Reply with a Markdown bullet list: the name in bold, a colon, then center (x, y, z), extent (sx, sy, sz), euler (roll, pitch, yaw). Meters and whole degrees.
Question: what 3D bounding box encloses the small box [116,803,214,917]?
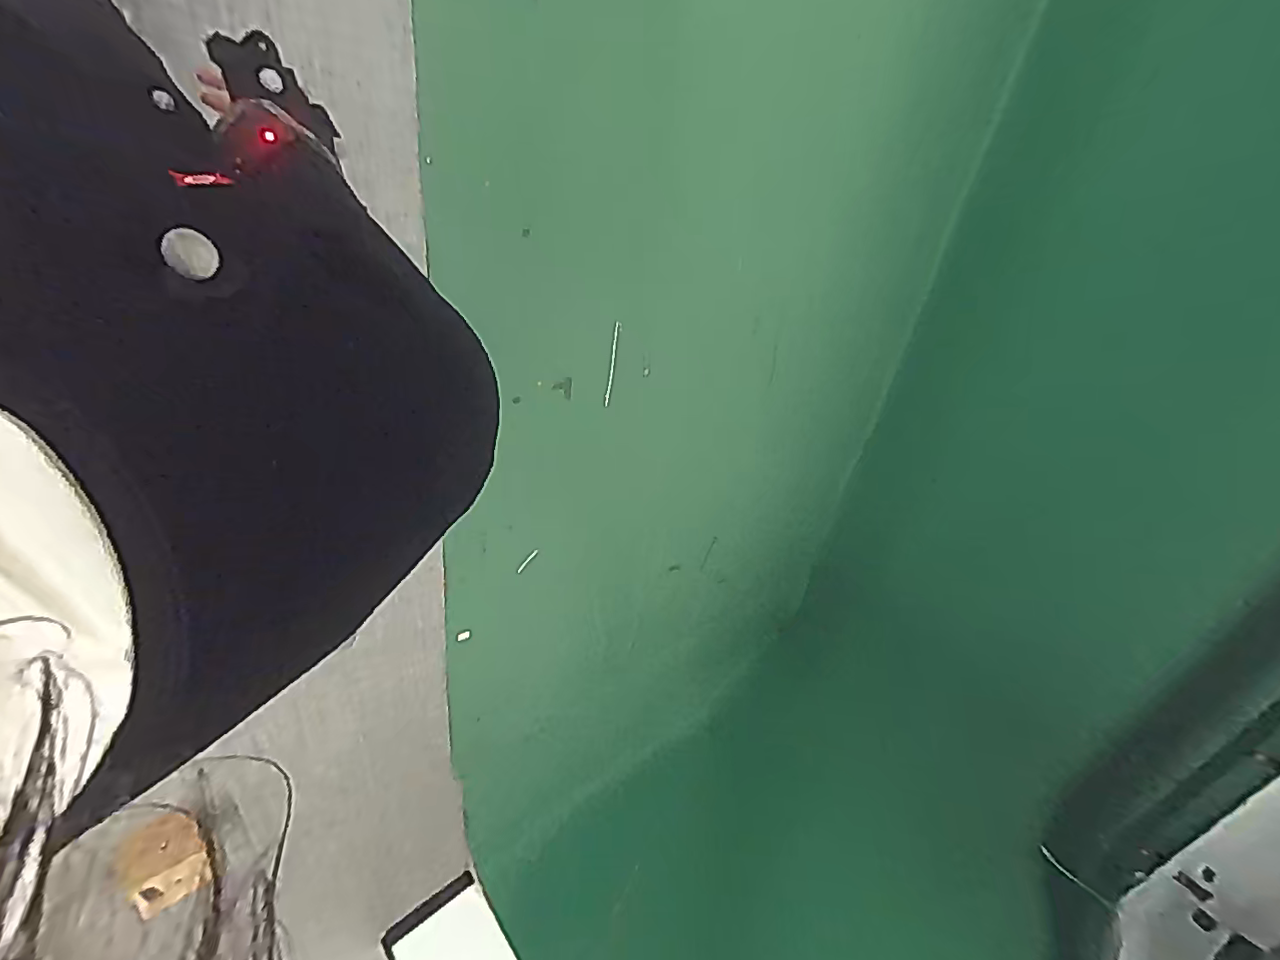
- **small box**: center (-1.384, 1.098, 1.573), extent (0.179, 0.176, 0.168), euler (-21, 132, -40)
